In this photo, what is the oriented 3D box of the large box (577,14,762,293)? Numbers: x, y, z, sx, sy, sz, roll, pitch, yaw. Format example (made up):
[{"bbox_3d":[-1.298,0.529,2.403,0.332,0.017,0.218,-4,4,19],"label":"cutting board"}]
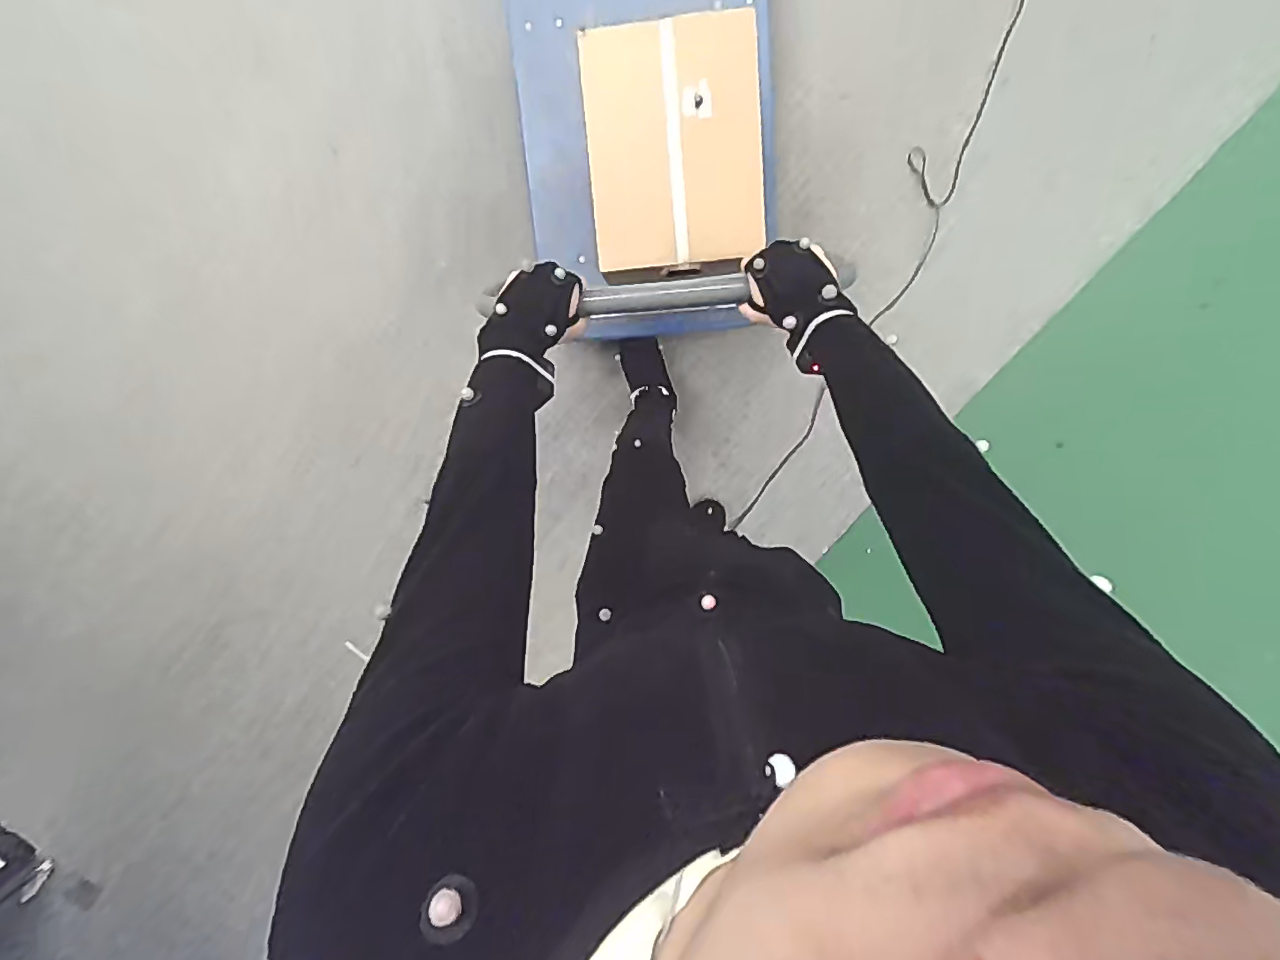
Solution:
[{"bbox_3d":[0.065,-0.638,1.138,0.320,0.320,0.408,-5,100,3],"label":"large box"}]
